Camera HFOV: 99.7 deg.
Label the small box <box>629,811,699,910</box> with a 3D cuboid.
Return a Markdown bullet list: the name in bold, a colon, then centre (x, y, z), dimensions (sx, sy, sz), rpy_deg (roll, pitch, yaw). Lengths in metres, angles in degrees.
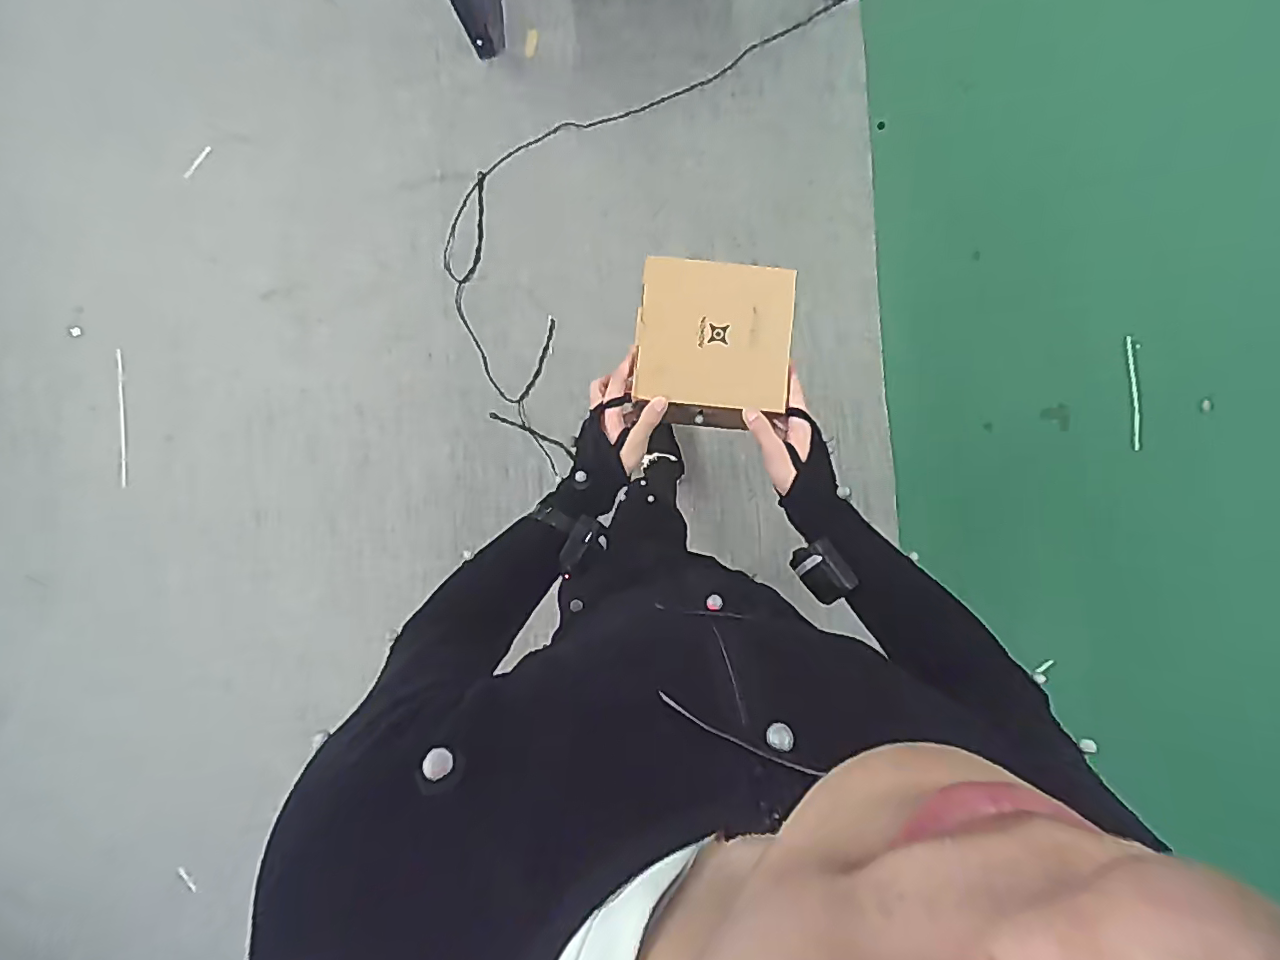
- **small box**: centre (0.070, 1.041, 1.492), dimensions (0.179, 0.176, 0.168), rpy_deg (-4, 86, 7)
